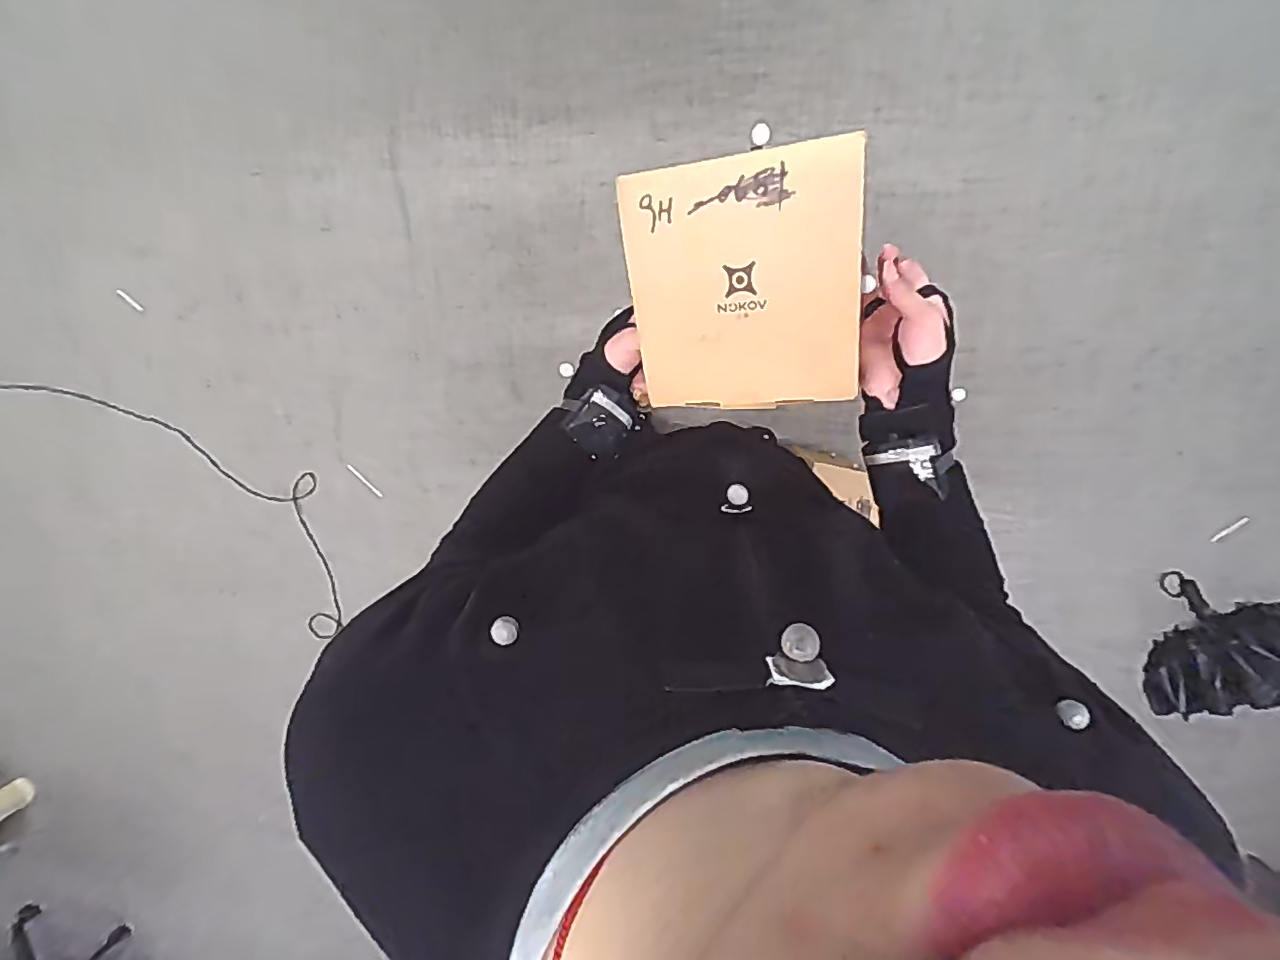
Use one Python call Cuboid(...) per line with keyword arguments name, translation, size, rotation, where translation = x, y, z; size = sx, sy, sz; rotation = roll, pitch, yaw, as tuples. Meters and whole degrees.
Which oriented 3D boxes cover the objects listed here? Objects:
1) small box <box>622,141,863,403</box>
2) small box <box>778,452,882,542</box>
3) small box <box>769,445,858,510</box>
Cuboid(name="small box", translation=(0.098, -0.180, 0.469), size=(0.168, 0.176, 0.179), rotation=(1, 121, 18))
Cuboid(name="small box", translation=(0.450, 0.033, 1.307), size=(0.179, 0.176, 0.168), rotation=(13, 100, 3))
Cuboid(name="small box", translation=(0.463, 0.004, 1.469), size=(0.179, 0.176, 0.168), rotation=(12, 100, 3))
